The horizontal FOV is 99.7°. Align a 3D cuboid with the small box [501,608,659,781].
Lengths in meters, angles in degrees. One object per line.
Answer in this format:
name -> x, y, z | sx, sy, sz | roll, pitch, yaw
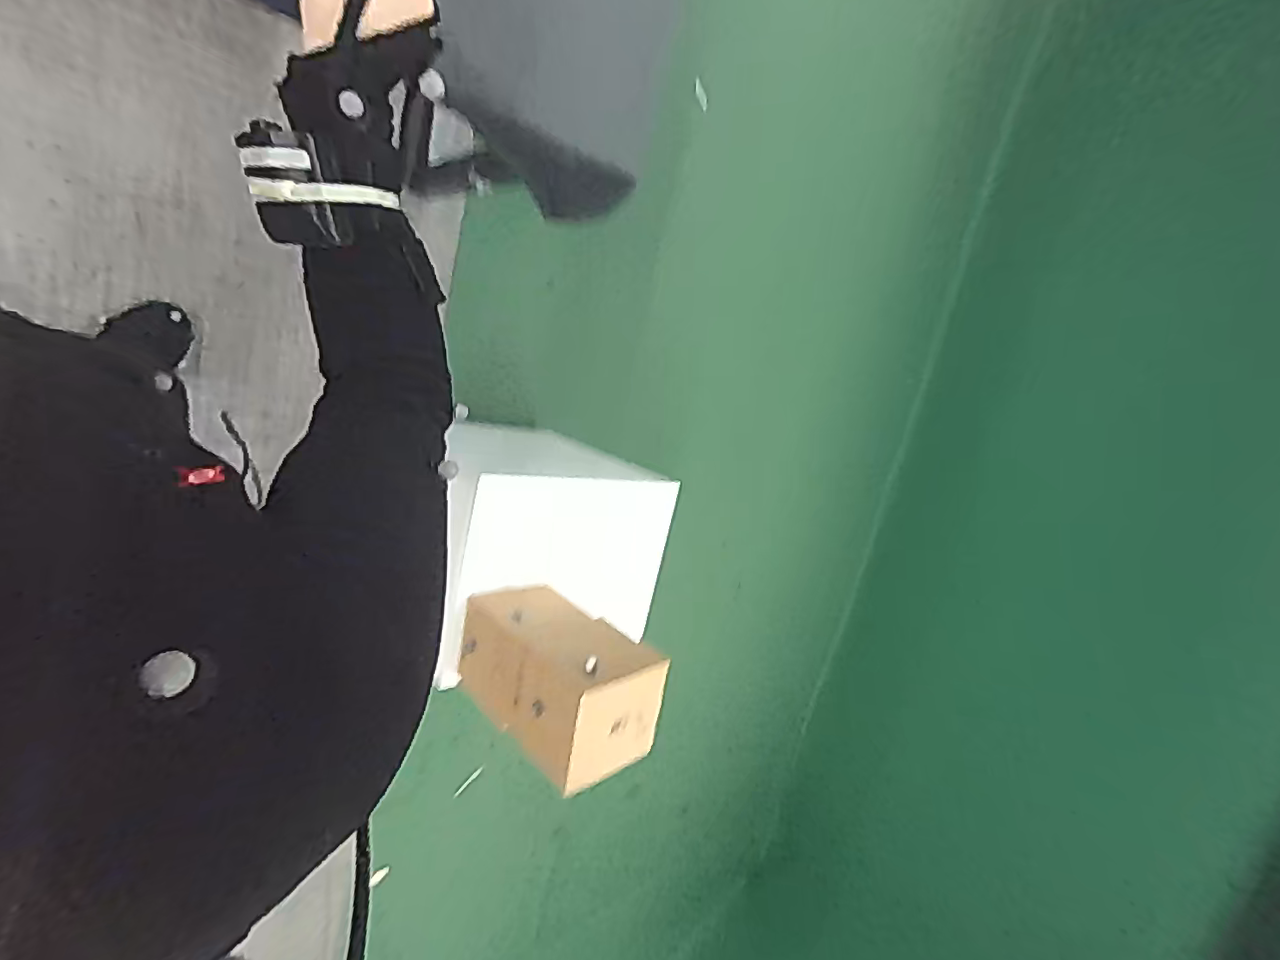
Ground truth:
small box -> -0.100, 0.325, 0.860 | 0.179, 0.176, 0.168 | -3, 109, -45
